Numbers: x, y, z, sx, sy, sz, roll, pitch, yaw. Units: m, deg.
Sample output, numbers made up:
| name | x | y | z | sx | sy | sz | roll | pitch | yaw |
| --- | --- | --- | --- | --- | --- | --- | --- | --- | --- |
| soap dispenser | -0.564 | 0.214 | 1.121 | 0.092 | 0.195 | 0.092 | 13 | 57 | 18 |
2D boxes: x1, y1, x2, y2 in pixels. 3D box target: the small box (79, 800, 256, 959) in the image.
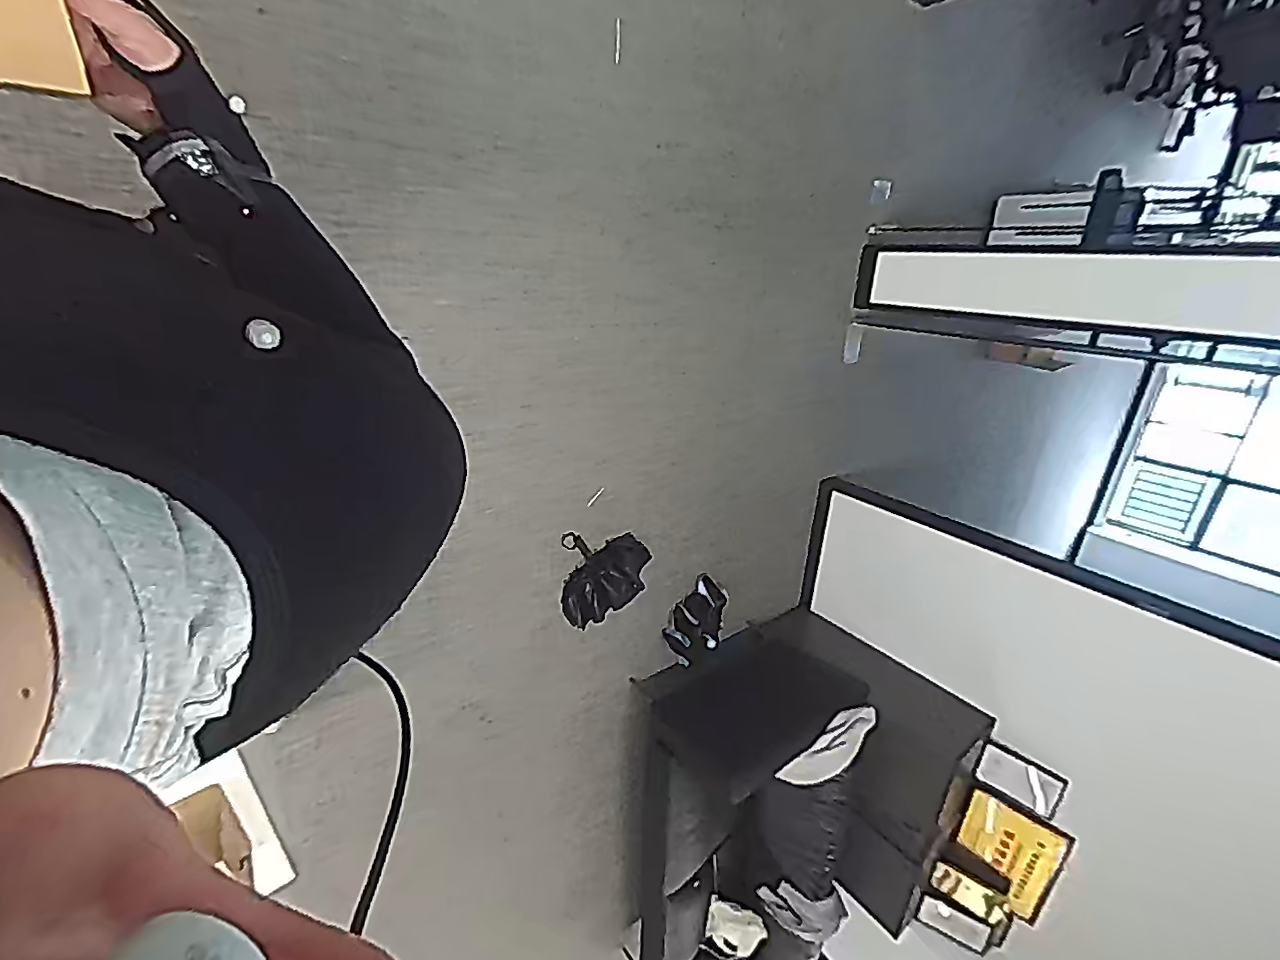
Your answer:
| name | x | y | z | sx | sy | sz | roll | pitch | yaw |
| --- | --- | --- | --- | --- | --- | --- | --- | --- | --- |
| small box | -0.748 | 0.672 | 0.875 | 0.168 | 0.176 | 0.179 | -20 | 121 | -32 |
